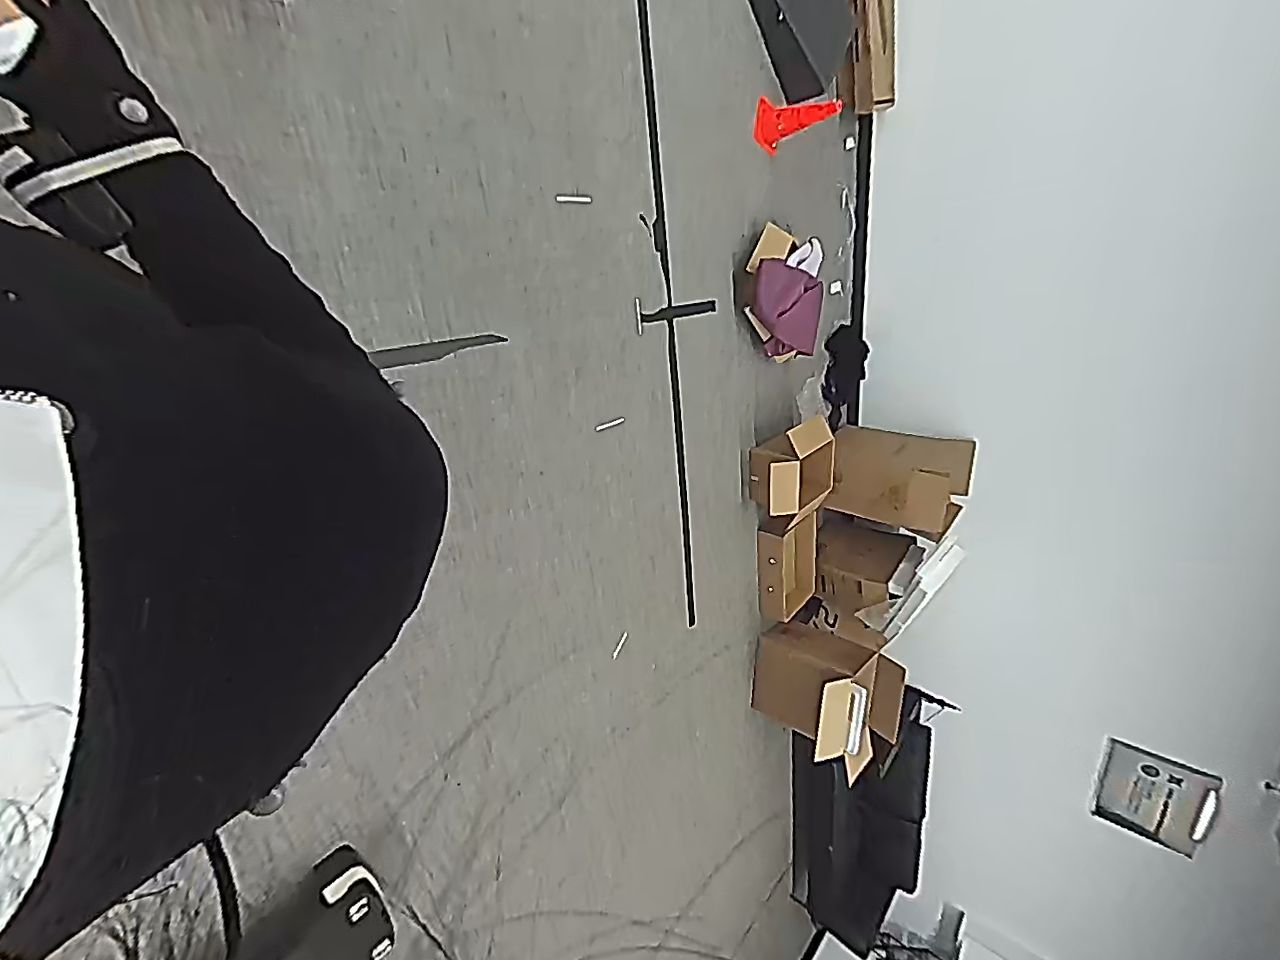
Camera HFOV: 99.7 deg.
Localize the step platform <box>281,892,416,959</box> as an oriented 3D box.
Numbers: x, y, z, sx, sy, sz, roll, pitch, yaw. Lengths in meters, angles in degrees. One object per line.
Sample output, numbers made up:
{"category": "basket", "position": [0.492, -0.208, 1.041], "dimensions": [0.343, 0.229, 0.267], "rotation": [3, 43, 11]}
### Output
{"category": "step platform", "position": [-0.881, 1.360, 1.257], "dimensions": [0.684, 0.204, 0.286], "rotation": [-28, 121, -41]}
